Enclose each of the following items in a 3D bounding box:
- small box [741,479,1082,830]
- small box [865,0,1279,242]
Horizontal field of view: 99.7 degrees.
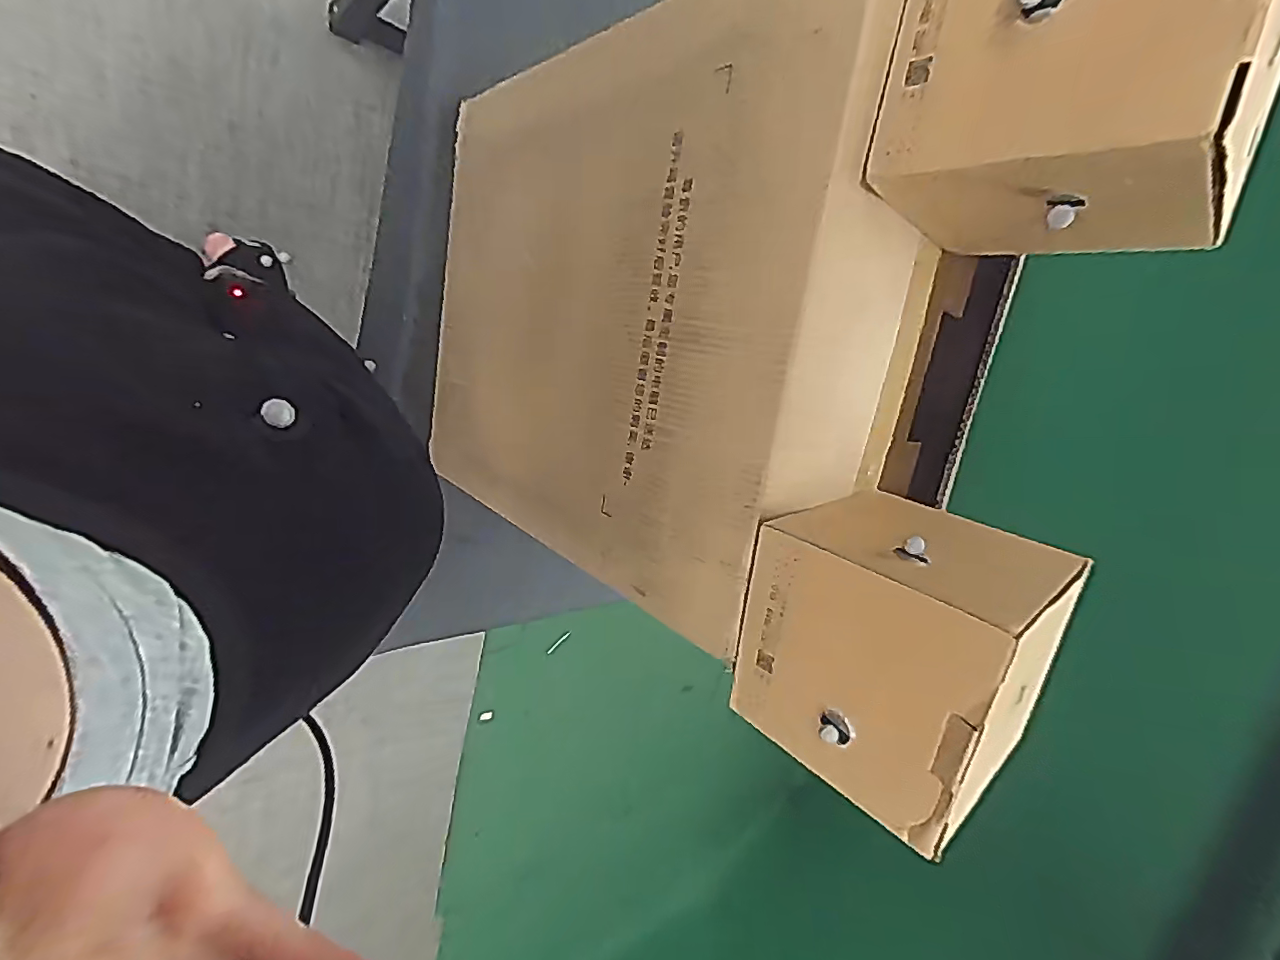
[{"bbox_3d":[0.201,0.110,0.424,0.179,0.176,0.168,-13,117,-40],"label":"small box"},{"bbox_3d":[0.272,-0.261,0.348,0.179,0.176,0.168,-2,106,-42],"label":"small box"}]
